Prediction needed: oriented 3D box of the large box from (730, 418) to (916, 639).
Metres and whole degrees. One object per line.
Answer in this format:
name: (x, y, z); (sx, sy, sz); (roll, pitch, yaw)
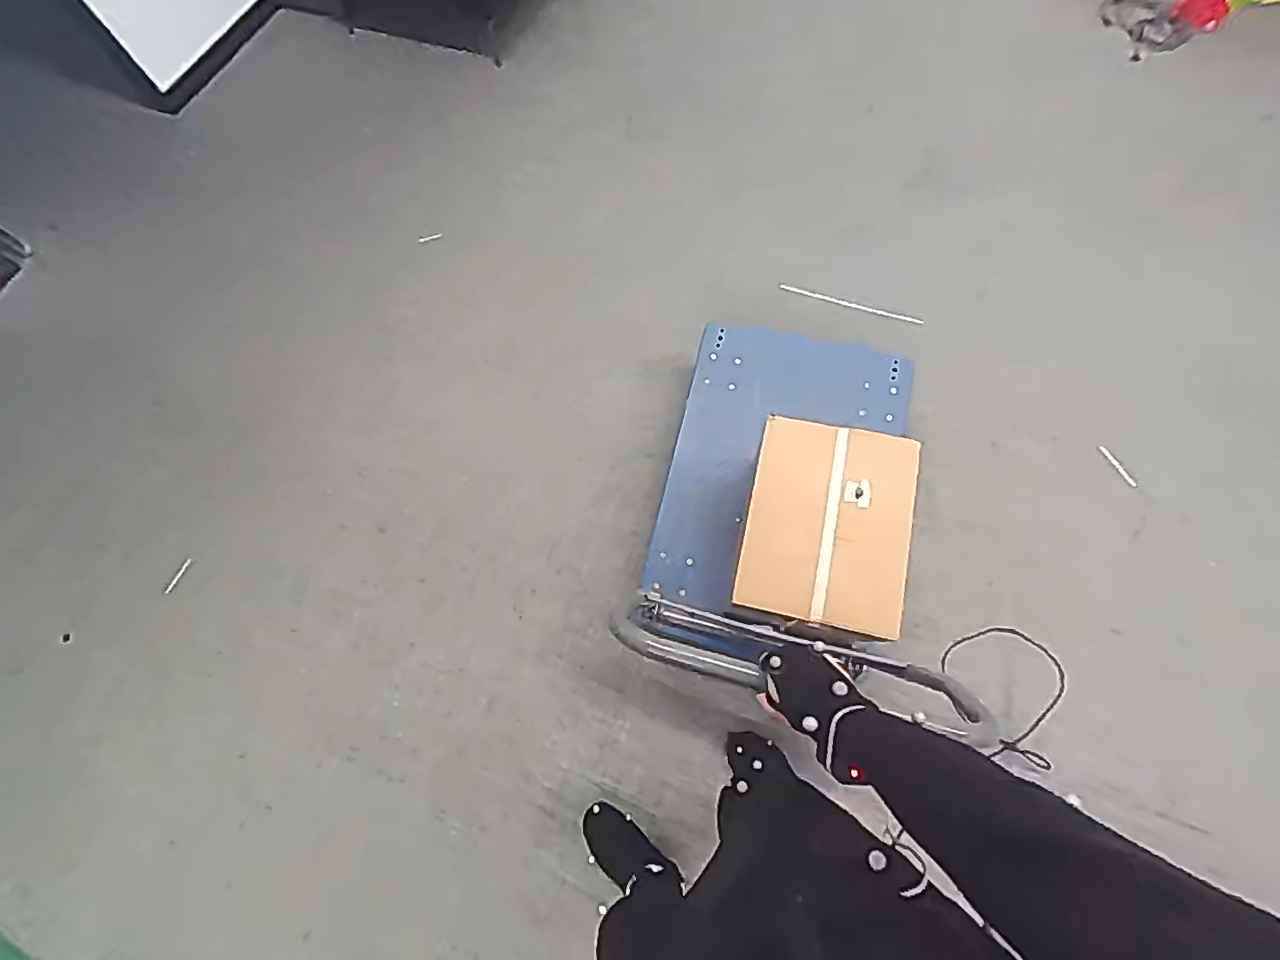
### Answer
large box: (0.393, 0.124, 1.223); (0.320, 0.320, 0.408); (12, 74, 8)
